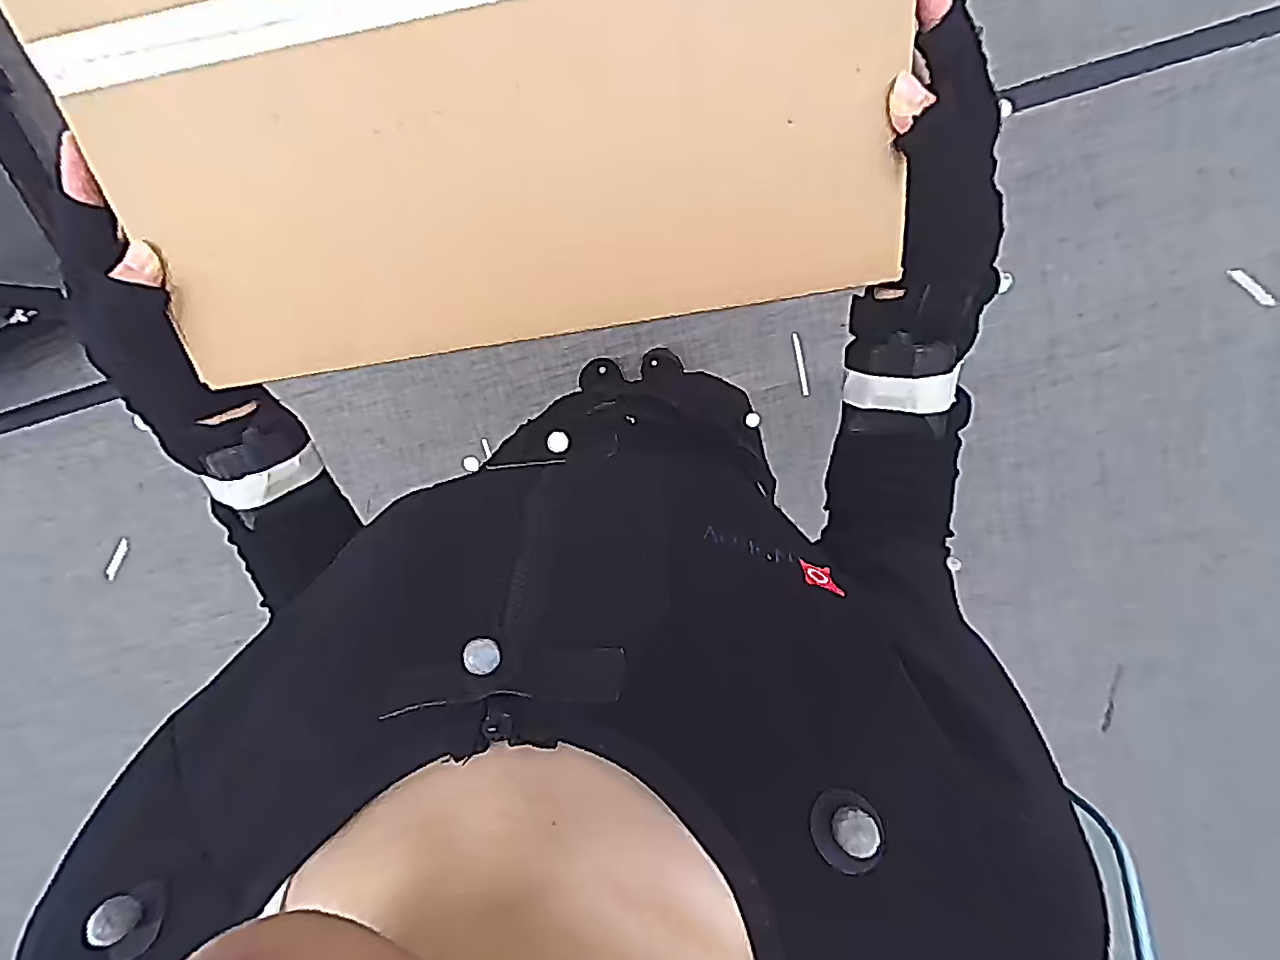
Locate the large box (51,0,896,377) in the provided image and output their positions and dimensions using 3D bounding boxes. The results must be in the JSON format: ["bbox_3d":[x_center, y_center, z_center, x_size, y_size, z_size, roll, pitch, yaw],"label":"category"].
[{"bbox_3d":[-0.080,-0.290,0.390,0.408,0.320,0.320,-8,116,4],"label":"large box"}]
